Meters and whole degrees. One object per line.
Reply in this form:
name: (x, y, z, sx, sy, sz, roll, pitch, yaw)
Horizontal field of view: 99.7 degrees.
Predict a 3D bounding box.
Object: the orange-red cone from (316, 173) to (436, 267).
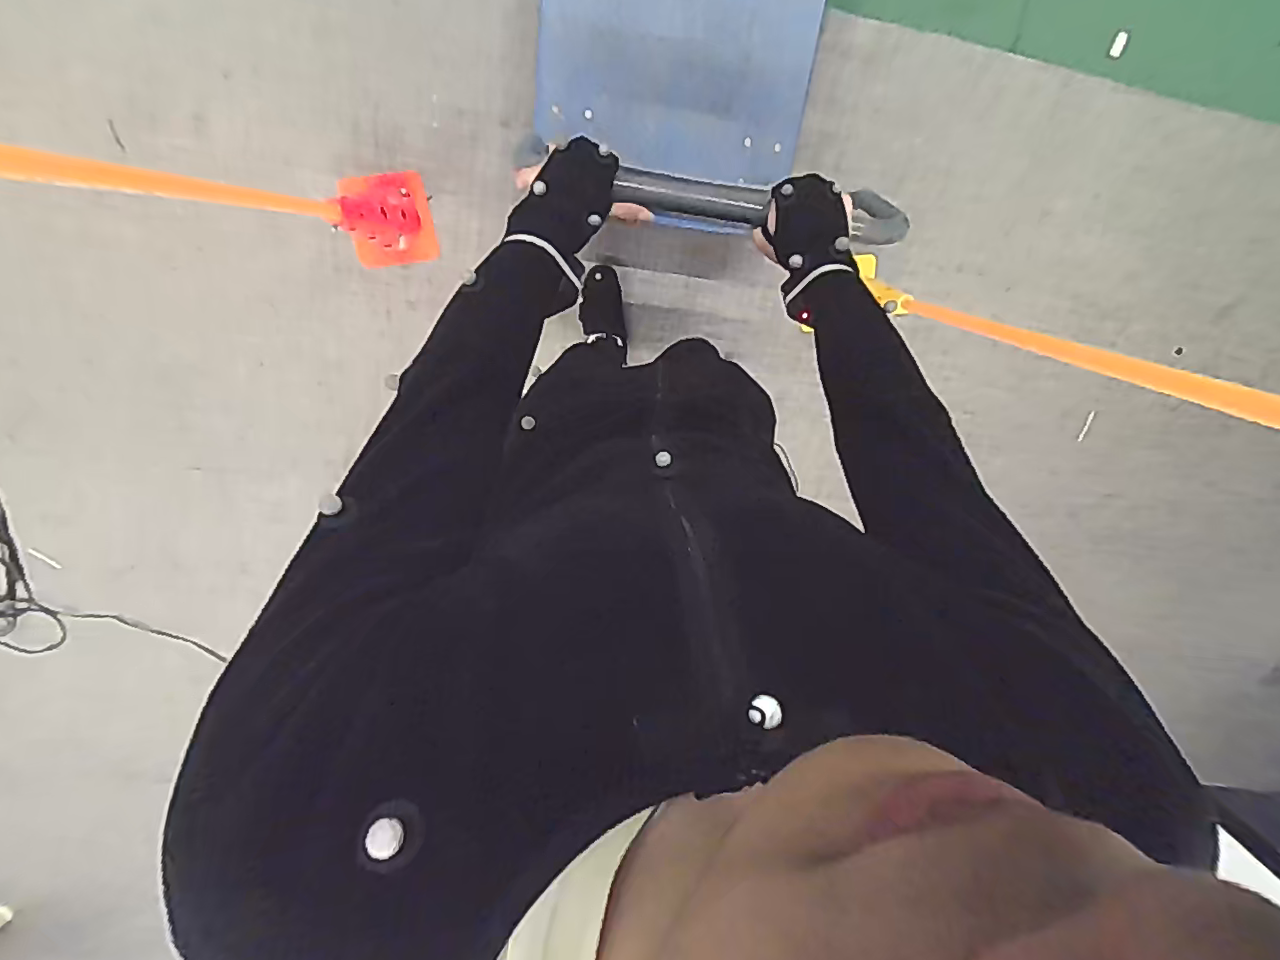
orange-red cone: (-0.601, -0.568, 1.166, 0.199, 0.360, 0.198, -7, 113, -2)
